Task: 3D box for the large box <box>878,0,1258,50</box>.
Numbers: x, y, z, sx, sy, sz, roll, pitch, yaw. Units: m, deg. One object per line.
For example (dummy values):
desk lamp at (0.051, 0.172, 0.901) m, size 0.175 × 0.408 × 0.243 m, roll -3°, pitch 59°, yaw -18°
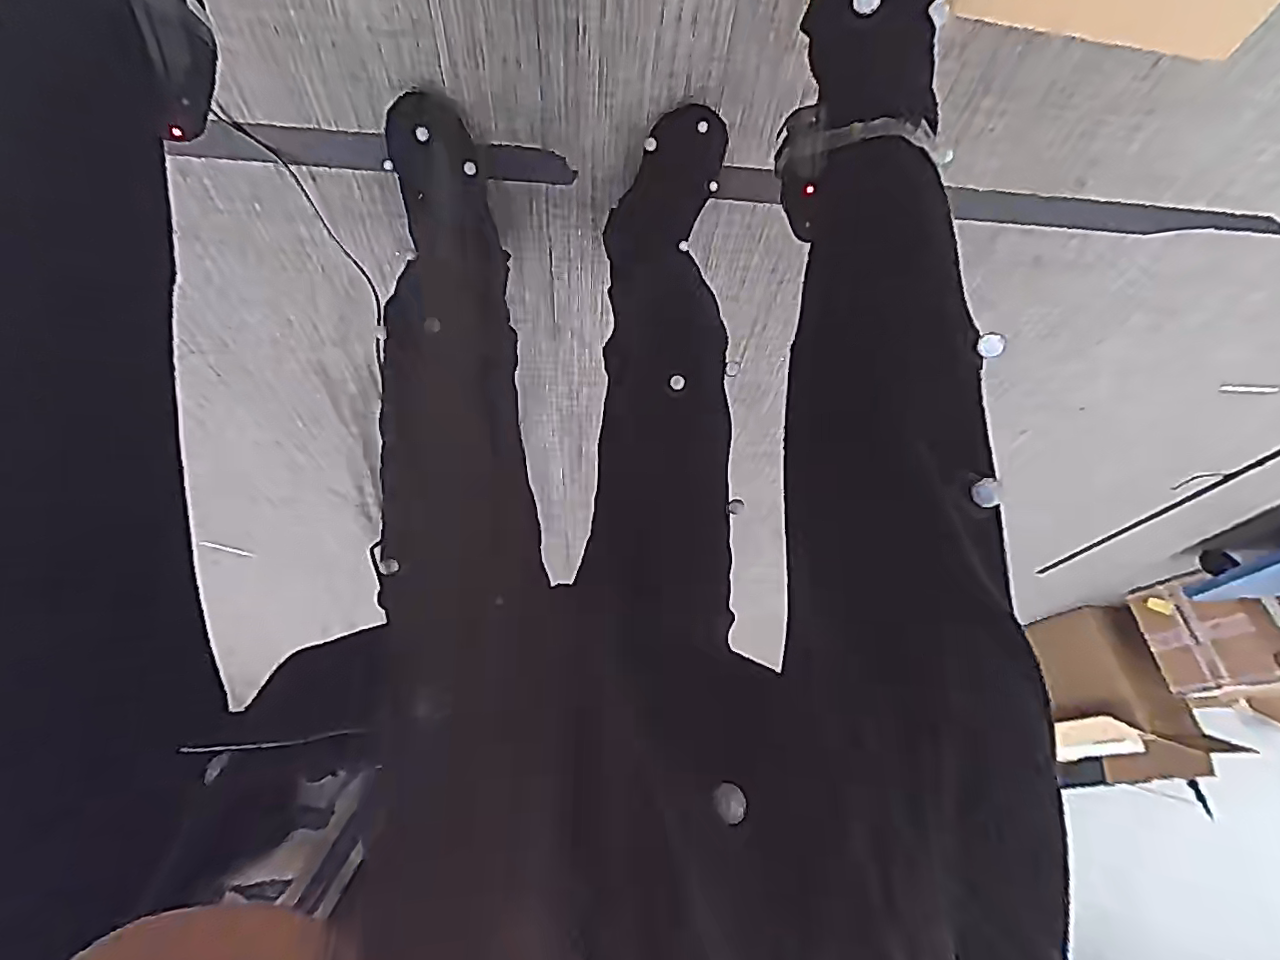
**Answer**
large box at (0.270, -0.550, 0.349) m, size 0.408 × 0.320 × 0.320 m, roll 1°, pitch 149°, yaw -9°
